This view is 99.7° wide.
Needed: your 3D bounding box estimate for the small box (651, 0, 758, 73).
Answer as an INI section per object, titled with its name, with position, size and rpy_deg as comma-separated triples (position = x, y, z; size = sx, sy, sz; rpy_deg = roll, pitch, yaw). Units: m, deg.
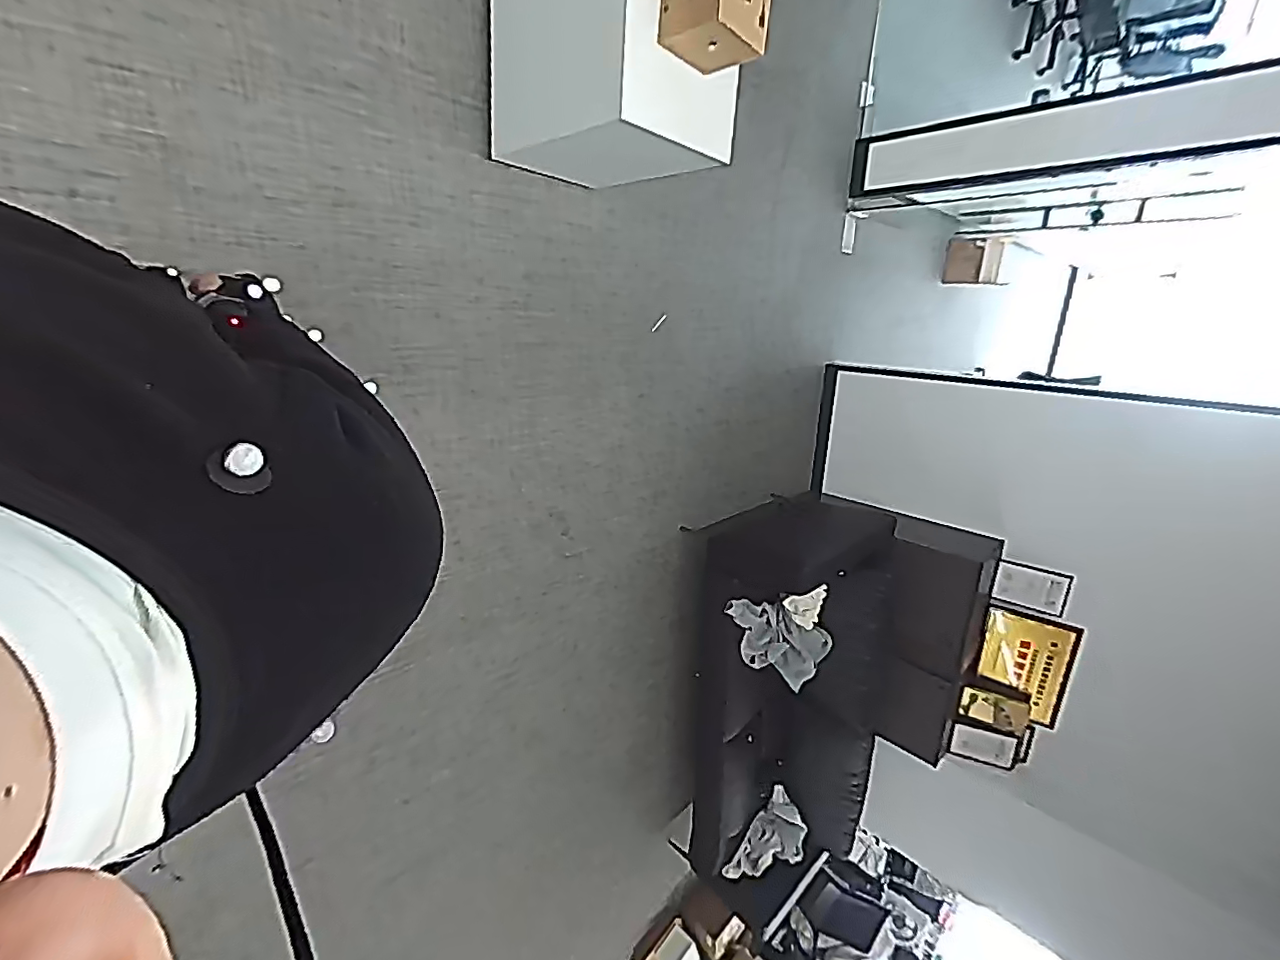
[small box]
position = 0.140, -1.035, 1.190
size = 0.179, 0.176, 0.168
rpy_deg = -13, 112, -45
